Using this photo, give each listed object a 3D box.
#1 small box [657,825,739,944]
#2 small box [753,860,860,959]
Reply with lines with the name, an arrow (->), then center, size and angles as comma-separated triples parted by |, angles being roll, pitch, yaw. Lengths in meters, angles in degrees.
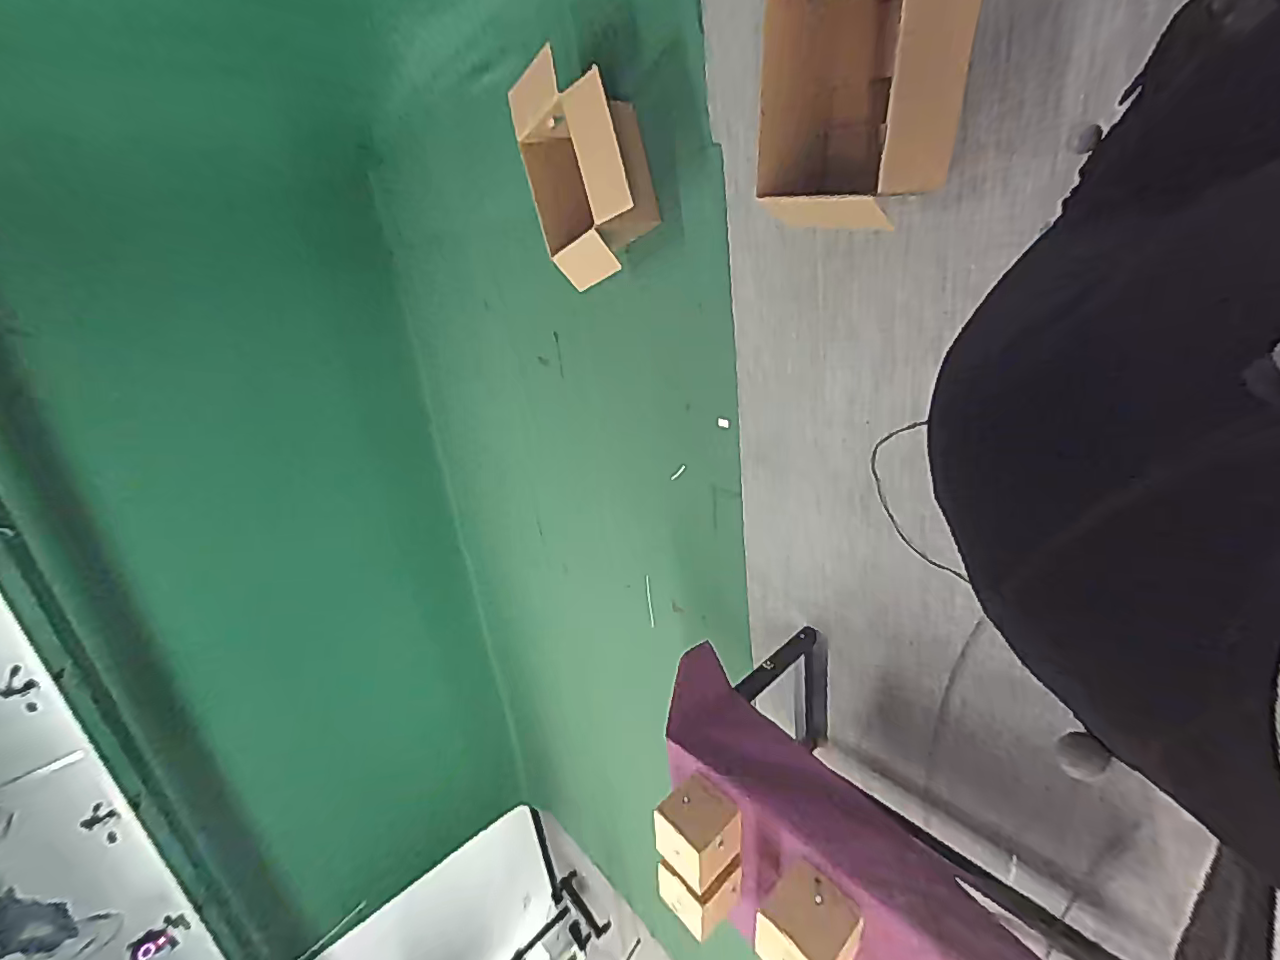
small box -> 0.165, 1.137, 1.534 | 0.168, 0.176, 0.179 | 25, 126, 42
small box -> 0.373, 1.019, 1.214 | 0.168, 0.176, 0.179 | 23, 125, 43
